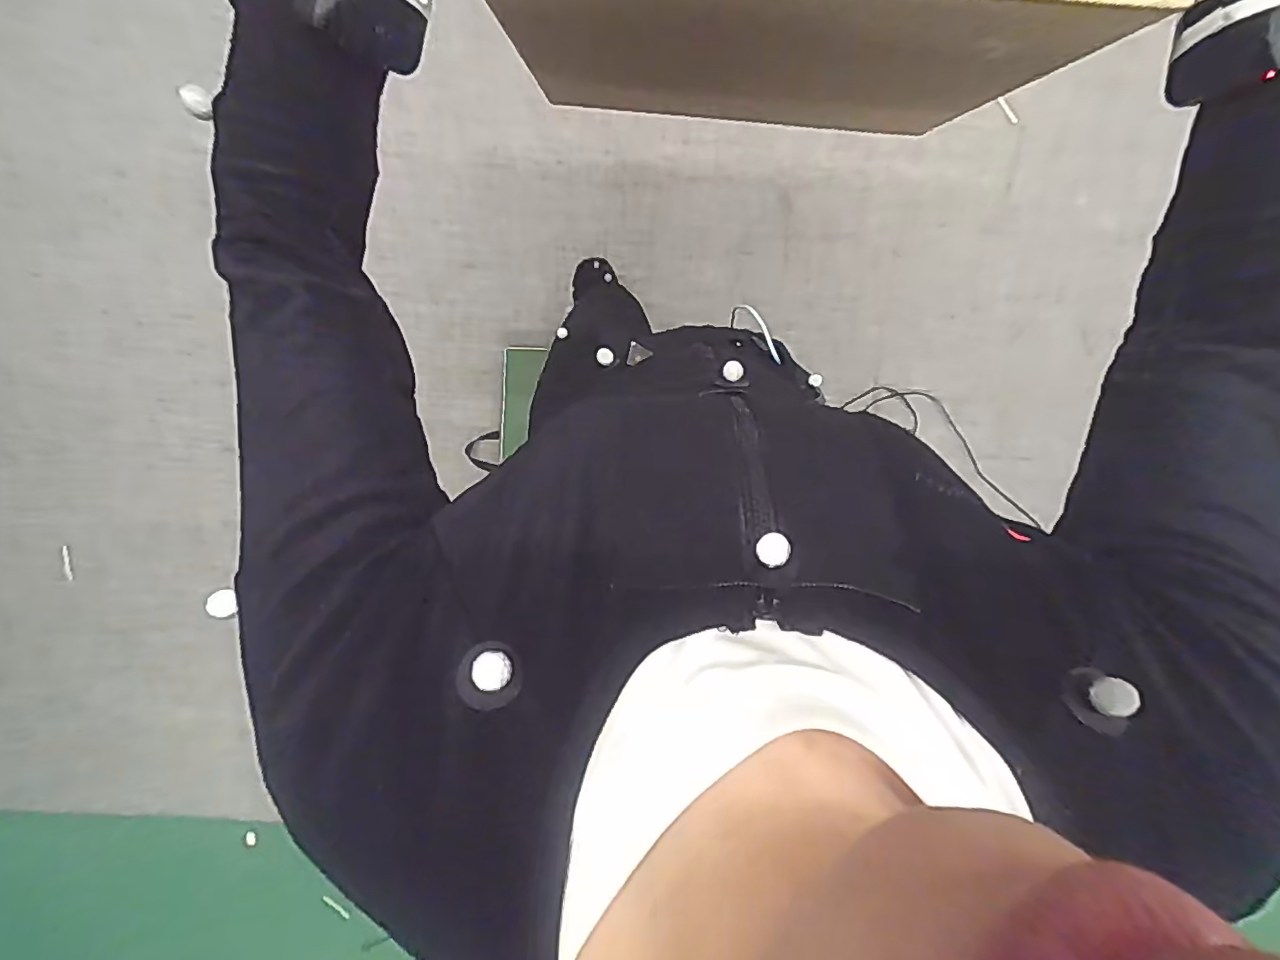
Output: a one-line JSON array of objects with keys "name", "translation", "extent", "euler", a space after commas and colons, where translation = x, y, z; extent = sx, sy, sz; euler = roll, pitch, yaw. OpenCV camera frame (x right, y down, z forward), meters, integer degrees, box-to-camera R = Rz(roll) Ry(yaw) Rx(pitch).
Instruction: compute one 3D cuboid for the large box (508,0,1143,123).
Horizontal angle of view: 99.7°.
[{"name": "large box", "translation": [0.111, -0.479, 0.384], "extent": [0.408, 0.320, 0.320], "euler": [3, 112, -2]}]
